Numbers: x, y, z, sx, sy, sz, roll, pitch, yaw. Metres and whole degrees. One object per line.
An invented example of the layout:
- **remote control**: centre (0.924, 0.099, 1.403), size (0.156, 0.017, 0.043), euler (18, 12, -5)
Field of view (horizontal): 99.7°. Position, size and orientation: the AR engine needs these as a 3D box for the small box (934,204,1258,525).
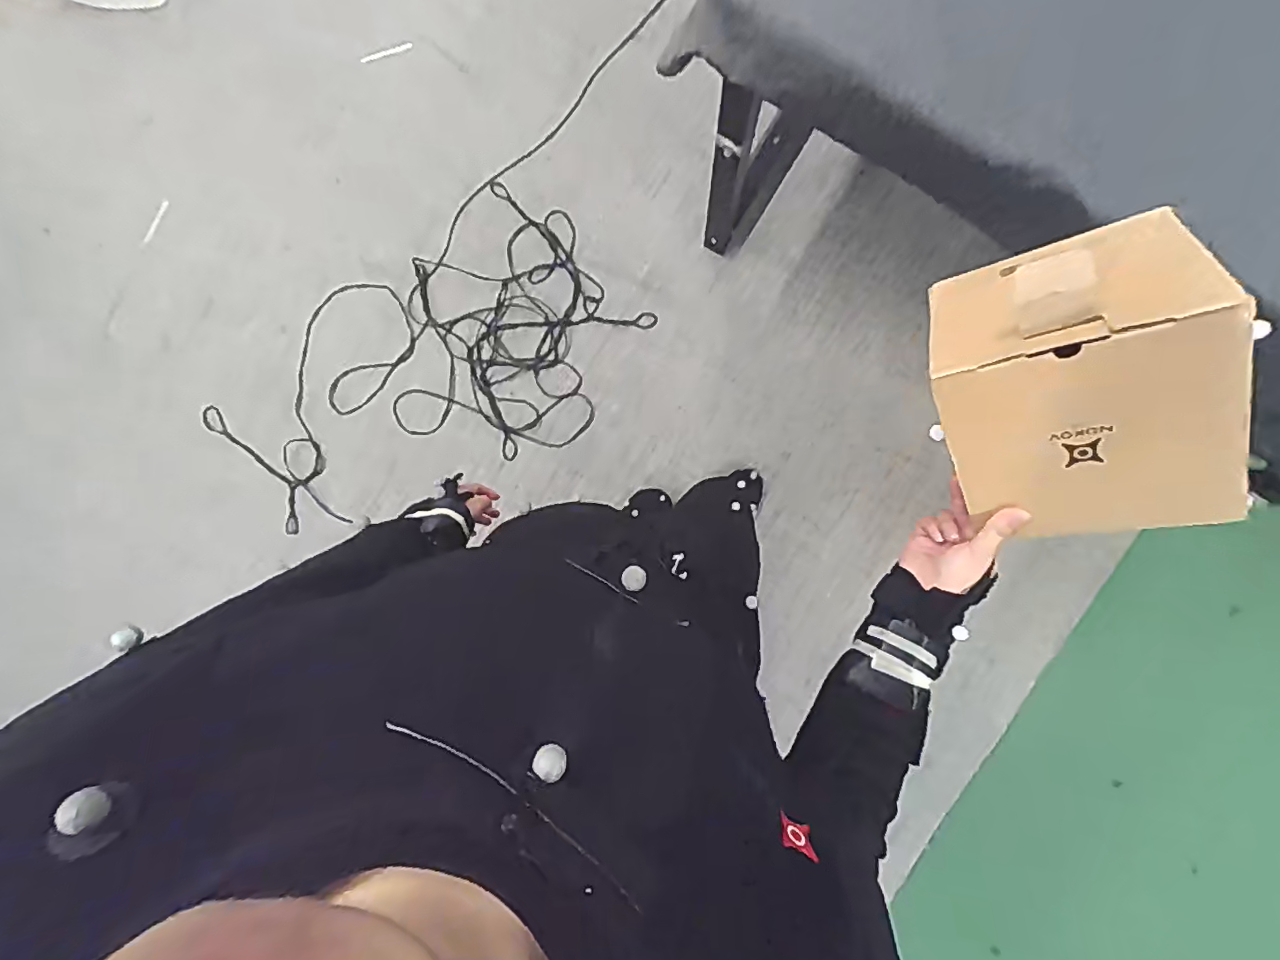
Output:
- **small box**: centre (0.353, -0.088, 0.444), size (0.168, 0.176, 0.179), euler (-12, 124, 36)
